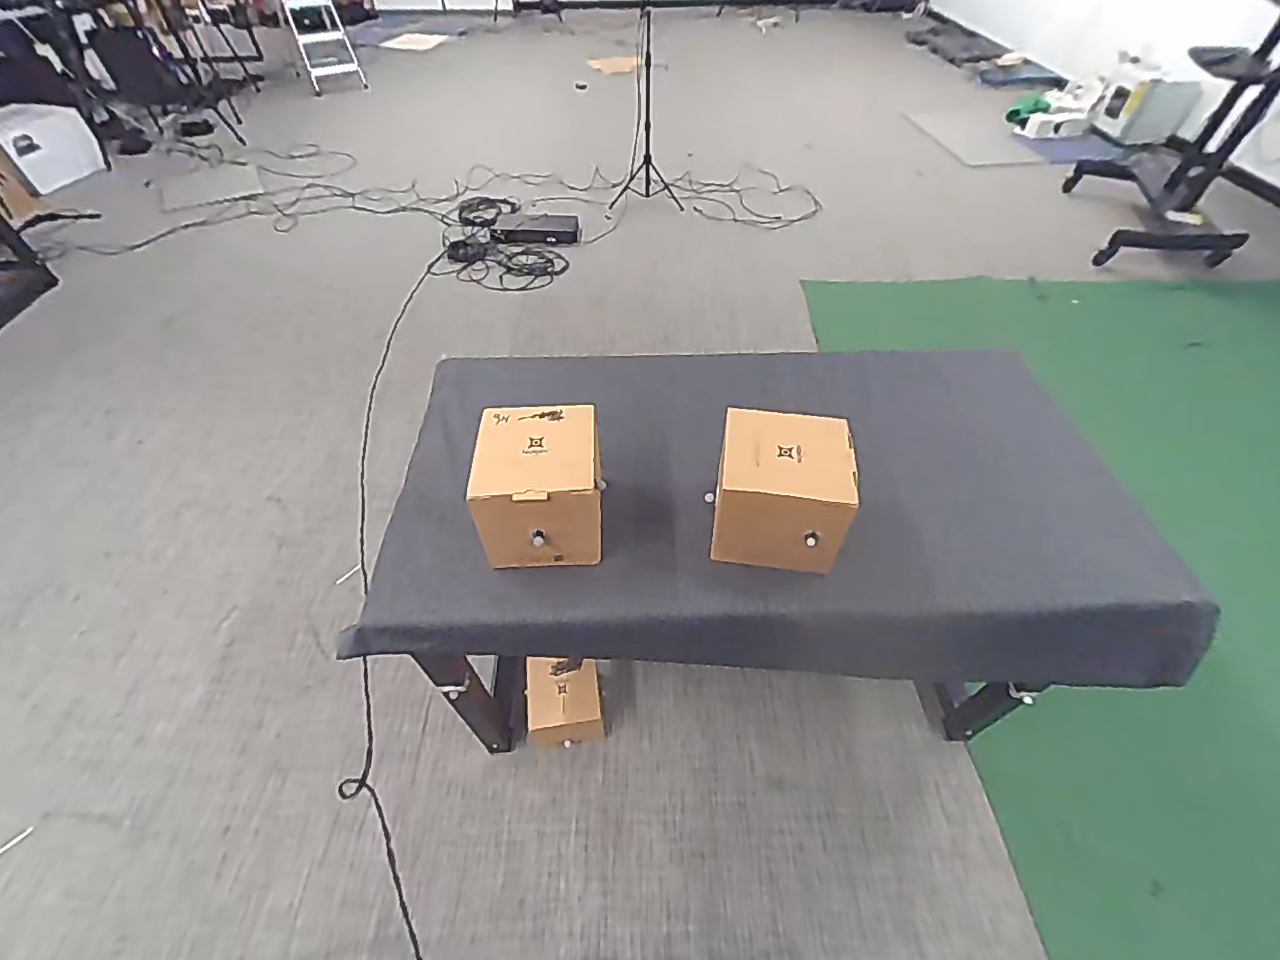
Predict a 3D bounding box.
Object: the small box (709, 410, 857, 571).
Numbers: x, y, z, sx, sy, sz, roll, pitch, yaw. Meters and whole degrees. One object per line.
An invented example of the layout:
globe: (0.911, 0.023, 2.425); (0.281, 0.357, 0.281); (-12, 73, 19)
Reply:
small box: (0.204, 0.019, 0.808); (0.179, 0.176, 0.168); (6, 48, 6)

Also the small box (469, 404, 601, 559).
small box: (-0.144, 0.007, 0.810); (0.168, 0.176, 0.179); (-2, 48, -3)
